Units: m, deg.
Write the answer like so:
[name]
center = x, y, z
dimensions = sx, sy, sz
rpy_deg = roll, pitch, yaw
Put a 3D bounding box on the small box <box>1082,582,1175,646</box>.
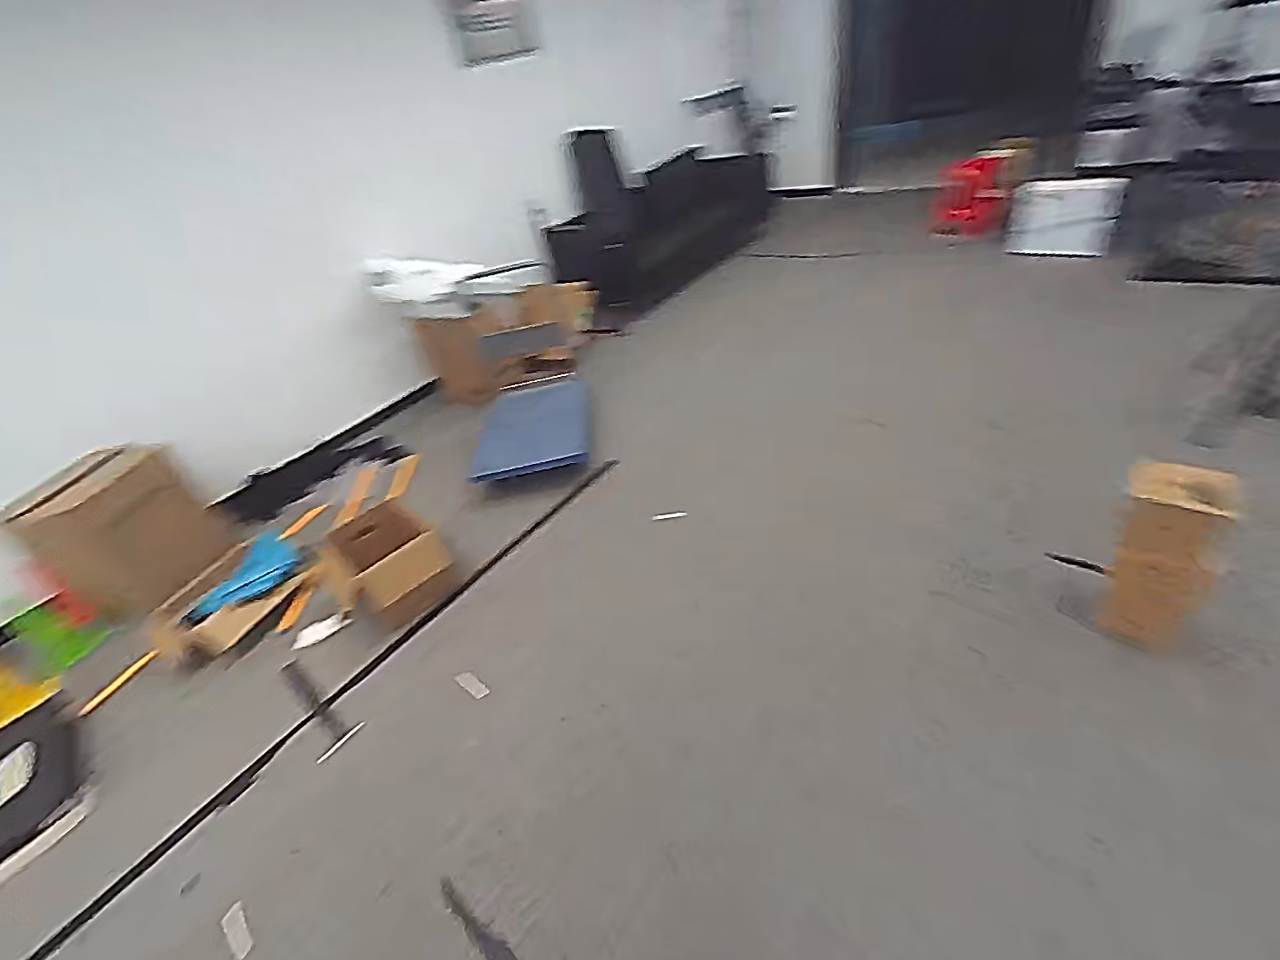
[small box]
center = 1.380, 0.331, 1.523
dimensions = 0.168, 0.176, 0.179
rpy_deg = 20, 48, 38
